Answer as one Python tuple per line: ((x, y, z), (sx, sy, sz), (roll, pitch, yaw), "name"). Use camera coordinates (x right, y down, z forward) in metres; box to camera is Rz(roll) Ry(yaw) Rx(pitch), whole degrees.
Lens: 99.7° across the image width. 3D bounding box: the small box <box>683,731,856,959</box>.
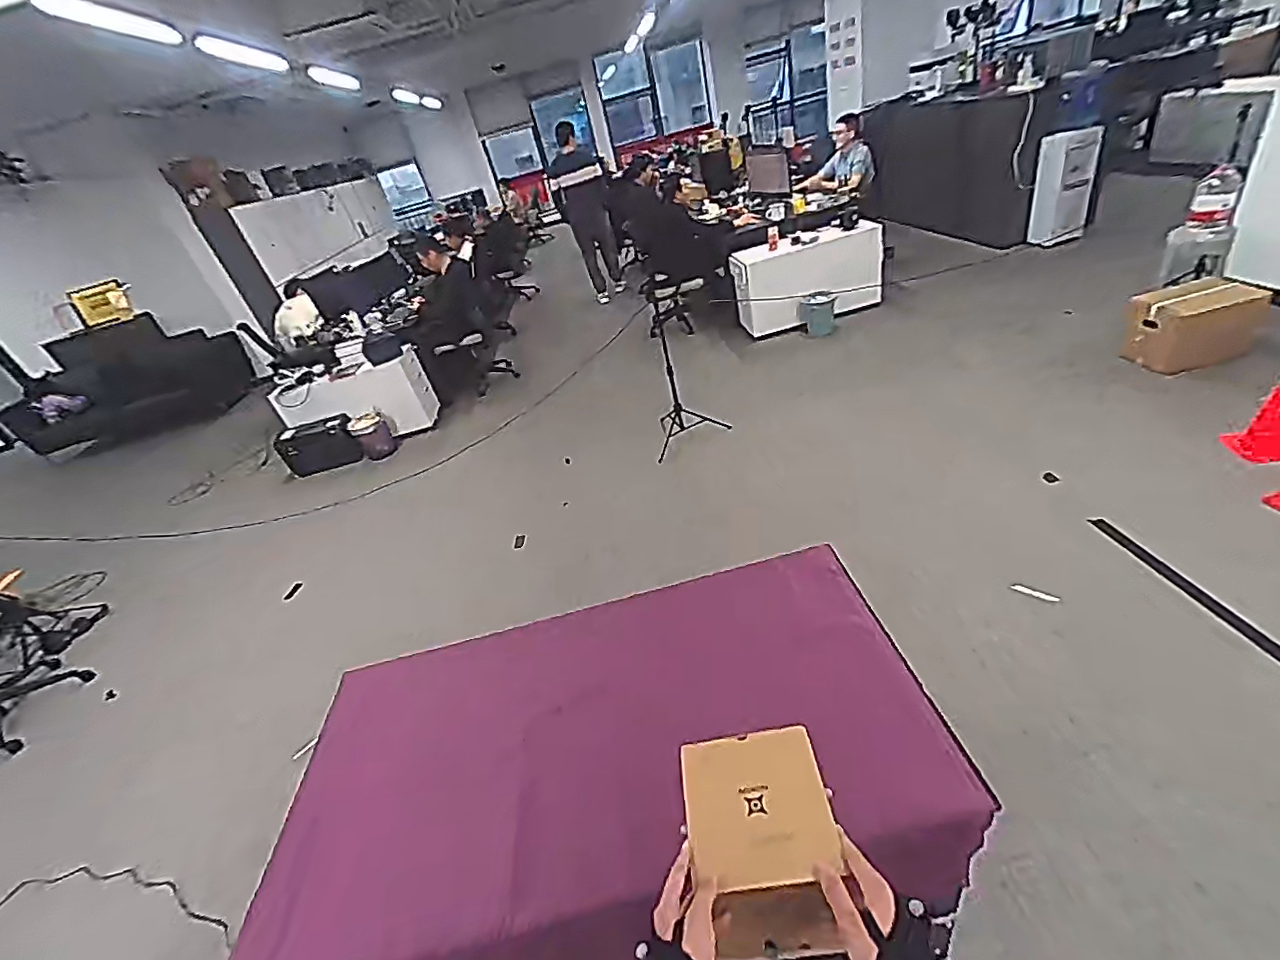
((0.151, 0.446, 0.660), (0.168, 0.176, 0.179), (-12, 27, 6), "small box")
